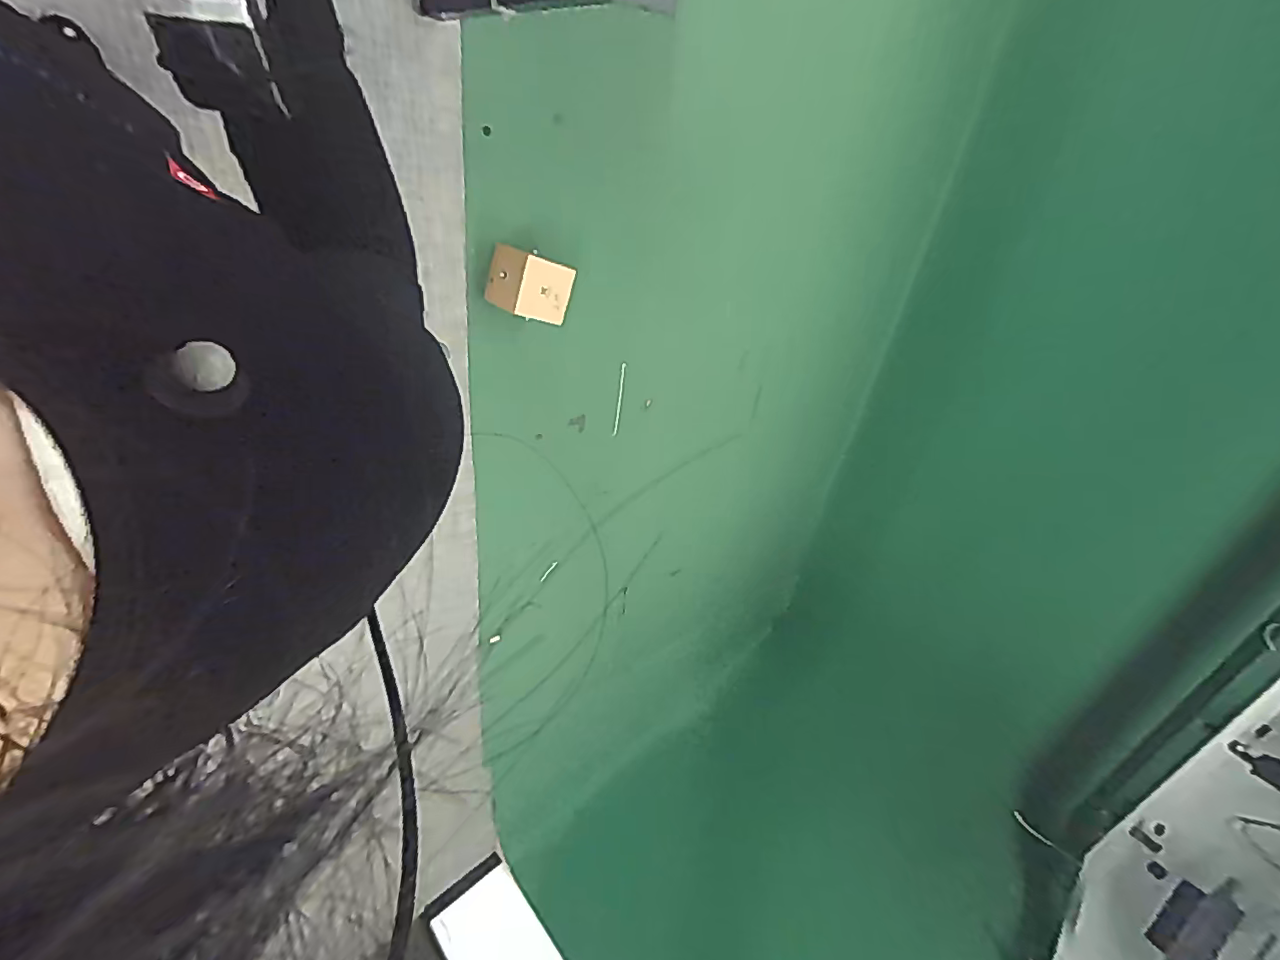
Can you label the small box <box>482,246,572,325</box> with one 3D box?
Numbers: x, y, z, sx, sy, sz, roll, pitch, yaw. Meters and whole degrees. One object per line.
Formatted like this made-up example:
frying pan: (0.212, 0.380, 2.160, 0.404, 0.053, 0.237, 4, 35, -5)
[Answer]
small box: (-0.337, -0.573, 1.588, 0.179, 0.176, 0.168, -2, 120, -49)
